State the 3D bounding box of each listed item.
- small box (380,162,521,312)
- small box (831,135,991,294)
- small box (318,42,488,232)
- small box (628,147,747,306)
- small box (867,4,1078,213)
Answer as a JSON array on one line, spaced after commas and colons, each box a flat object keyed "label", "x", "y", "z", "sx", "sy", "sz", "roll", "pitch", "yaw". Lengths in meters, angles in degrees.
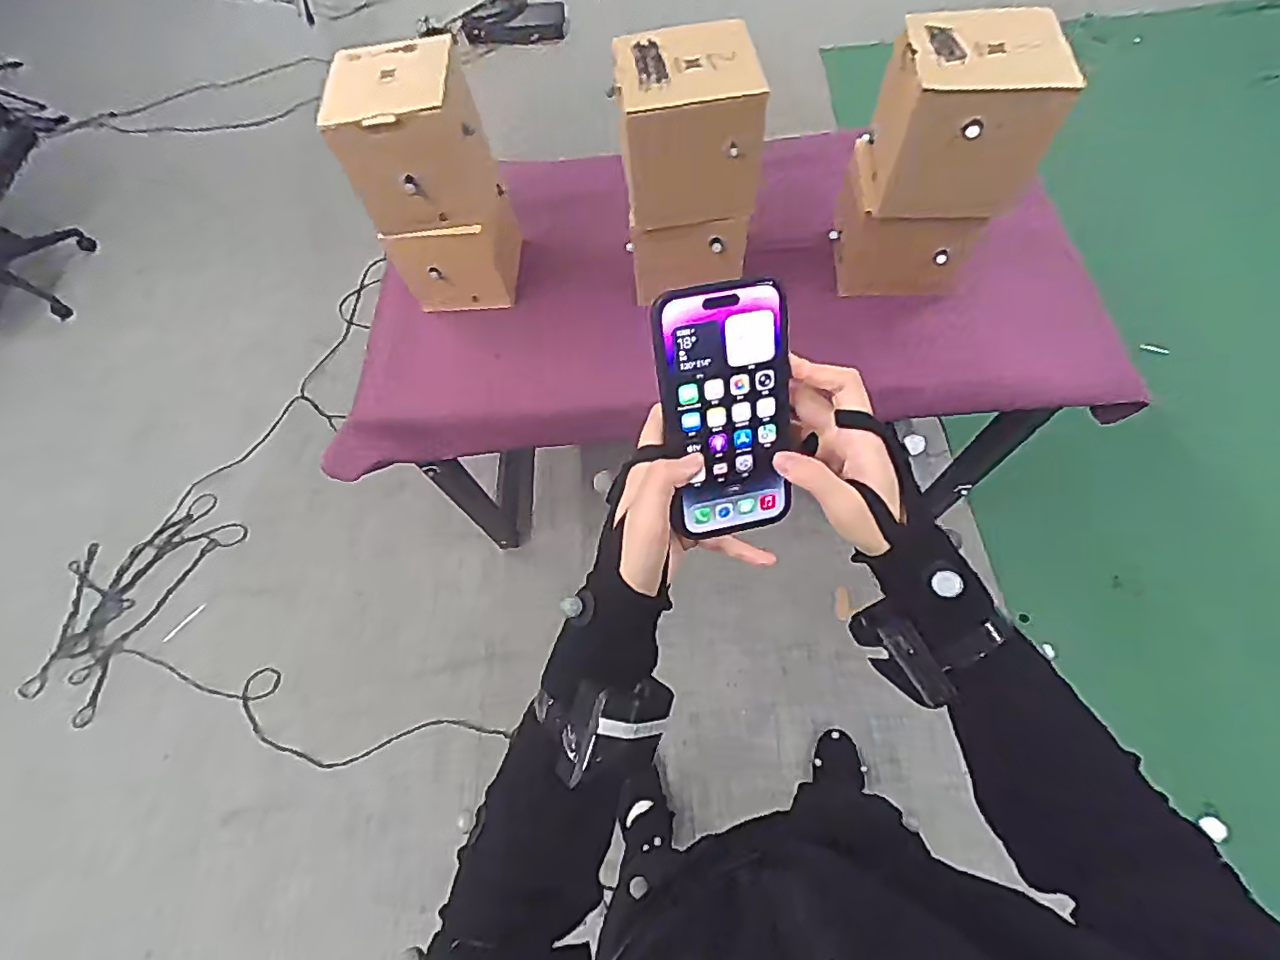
[{"label": "small box", "x": -0.313, "y": -0.408, "z": 0.933, "sx": 0.168, "sy": 0.176, "sz": 0.179, "roll": -2, "pitch": 64, "yaw": 5}, {"label": "small box", "x": 0.414, "y": -0.414, "z": 0.857, "sx": 0.179, "sy": 0.176, "sz": 0.168, "roll": 3, "pitch": 64, "yaw": 8}, {"label": "small box", "x": -0.330, "y": -0.487, "z": 0.789, "sx": 0.168, "sy": 0.176, "sz": 0.179, "roll": -7, "pitch": 64, "yaw": 2}, {"label": "small box", "x": 0.075, "y": -0.410, "z": 0.890, "sx": 0.179, "sy": 0.176, "sz": 0.168, "roll": -3, "pitch": 64, "yaw": 5}, {"label": "small box", "x": 0.407, "y": -0.472, "z": 0.704, "sx": 0.179, "sy": 0.176, "sz": 0.168, "roll": 3, "pitch": 64, "yaw": 7}]
